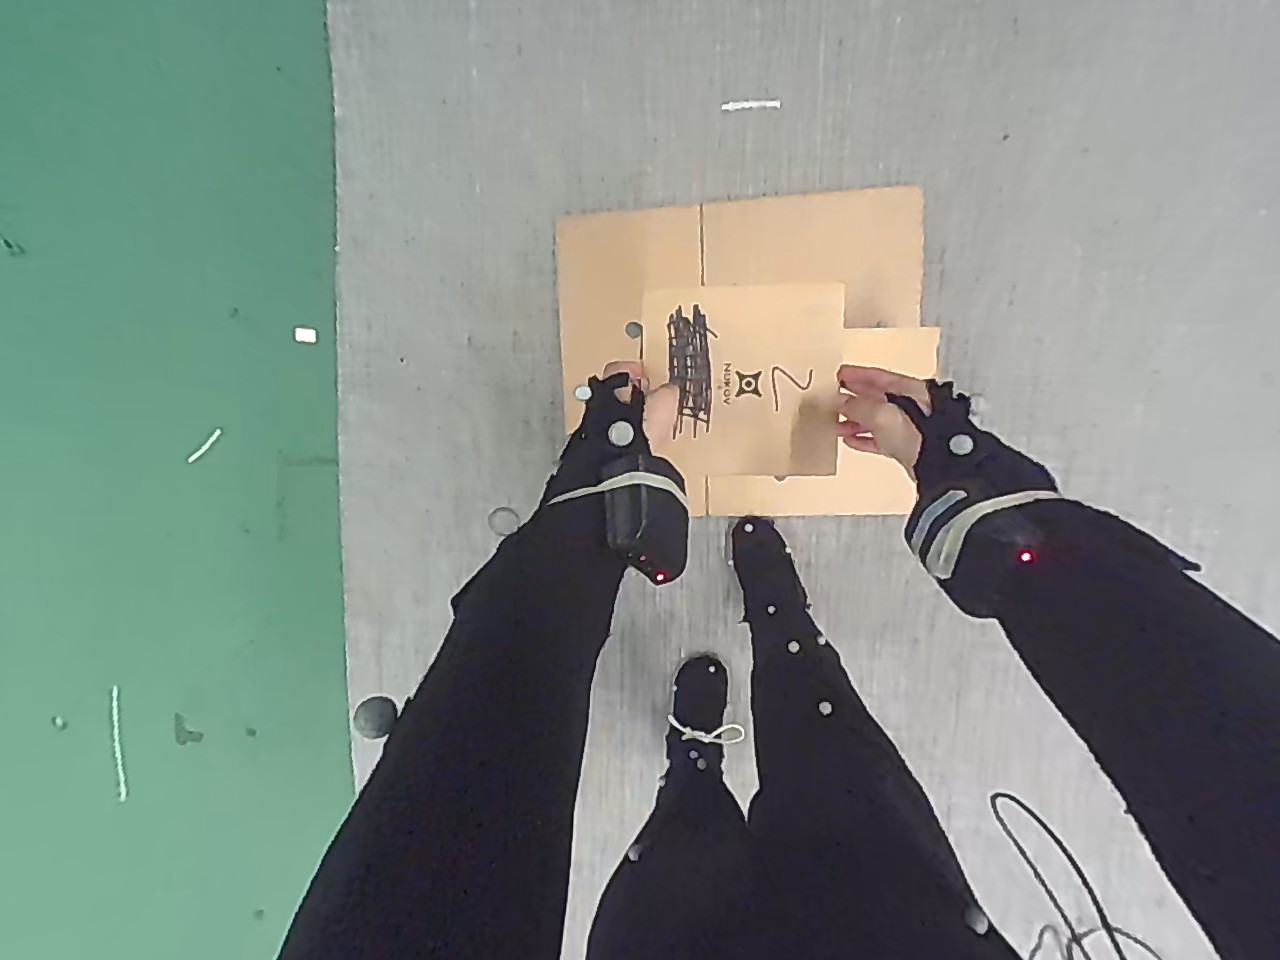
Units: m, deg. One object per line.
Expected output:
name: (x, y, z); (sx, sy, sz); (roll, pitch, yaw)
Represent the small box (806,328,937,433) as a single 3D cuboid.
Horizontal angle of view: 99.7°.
small box: (0.394, -0.167, 0.950); (0.179, 0.176, 0.168); (1, 96, 7)
